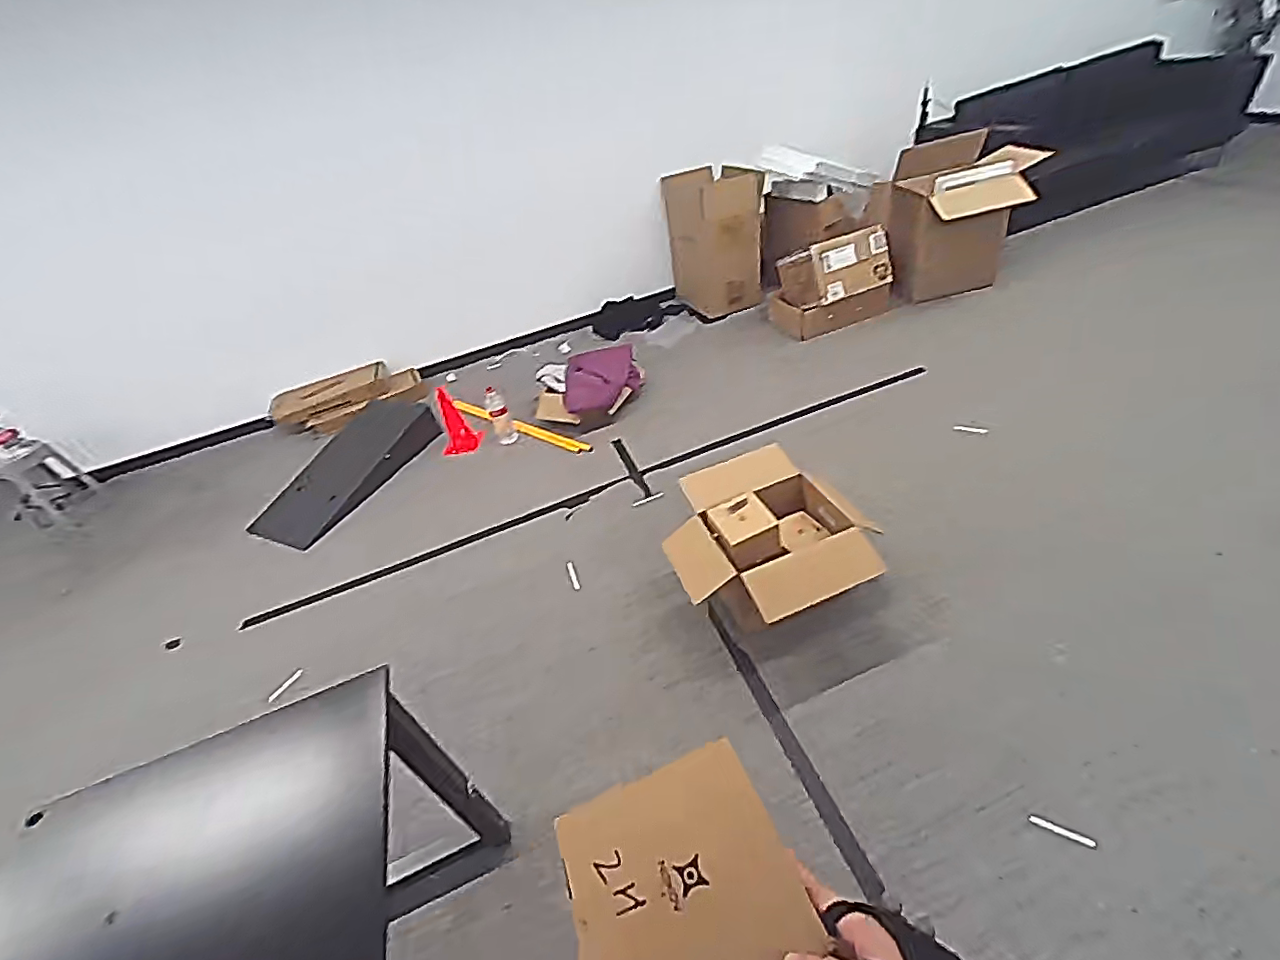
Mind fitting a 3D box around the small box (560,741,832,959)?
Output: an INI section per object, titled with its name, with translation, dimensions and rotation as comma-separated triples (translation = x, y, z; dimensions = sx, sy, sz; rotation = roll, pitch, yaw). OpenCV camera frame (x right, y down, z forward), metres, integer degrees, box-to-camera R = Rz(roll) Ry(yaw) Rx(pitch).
[small box]
translation = 0.044, 0.379, 0.498
dimensions = 0.179, 0.176, 0.168
rotation = -20, 46, -10
